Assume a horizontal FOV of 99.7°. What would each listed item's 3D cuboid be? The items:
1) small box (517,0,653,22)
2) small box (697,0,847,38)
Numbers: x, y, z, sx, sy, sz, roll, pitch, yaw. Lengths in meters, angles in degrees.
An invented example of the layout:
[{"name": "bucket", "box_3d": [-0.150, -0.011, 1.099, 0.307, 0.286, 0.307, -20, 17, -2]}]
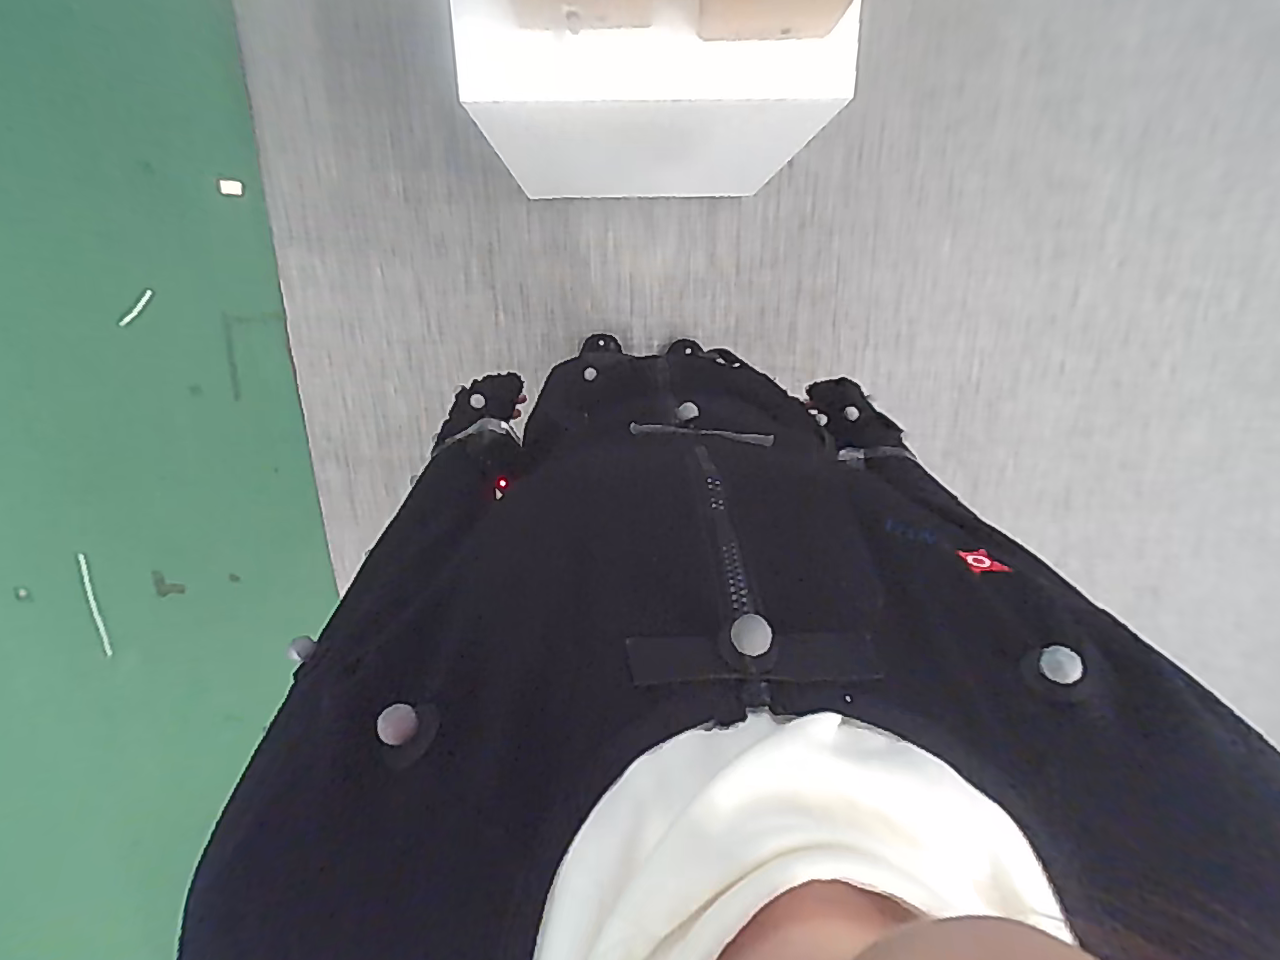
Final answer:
[{"name": "small box", "box_3d": [-0.067, -0.617, 0.552, 0.168, 0.176, 0.179, -4, 108, 0]}, {"name": "small box", "box_3d": [0.152, -0.616, 0.574, 0.168, 0.176, 0.179, -2, 105, -1]}]
